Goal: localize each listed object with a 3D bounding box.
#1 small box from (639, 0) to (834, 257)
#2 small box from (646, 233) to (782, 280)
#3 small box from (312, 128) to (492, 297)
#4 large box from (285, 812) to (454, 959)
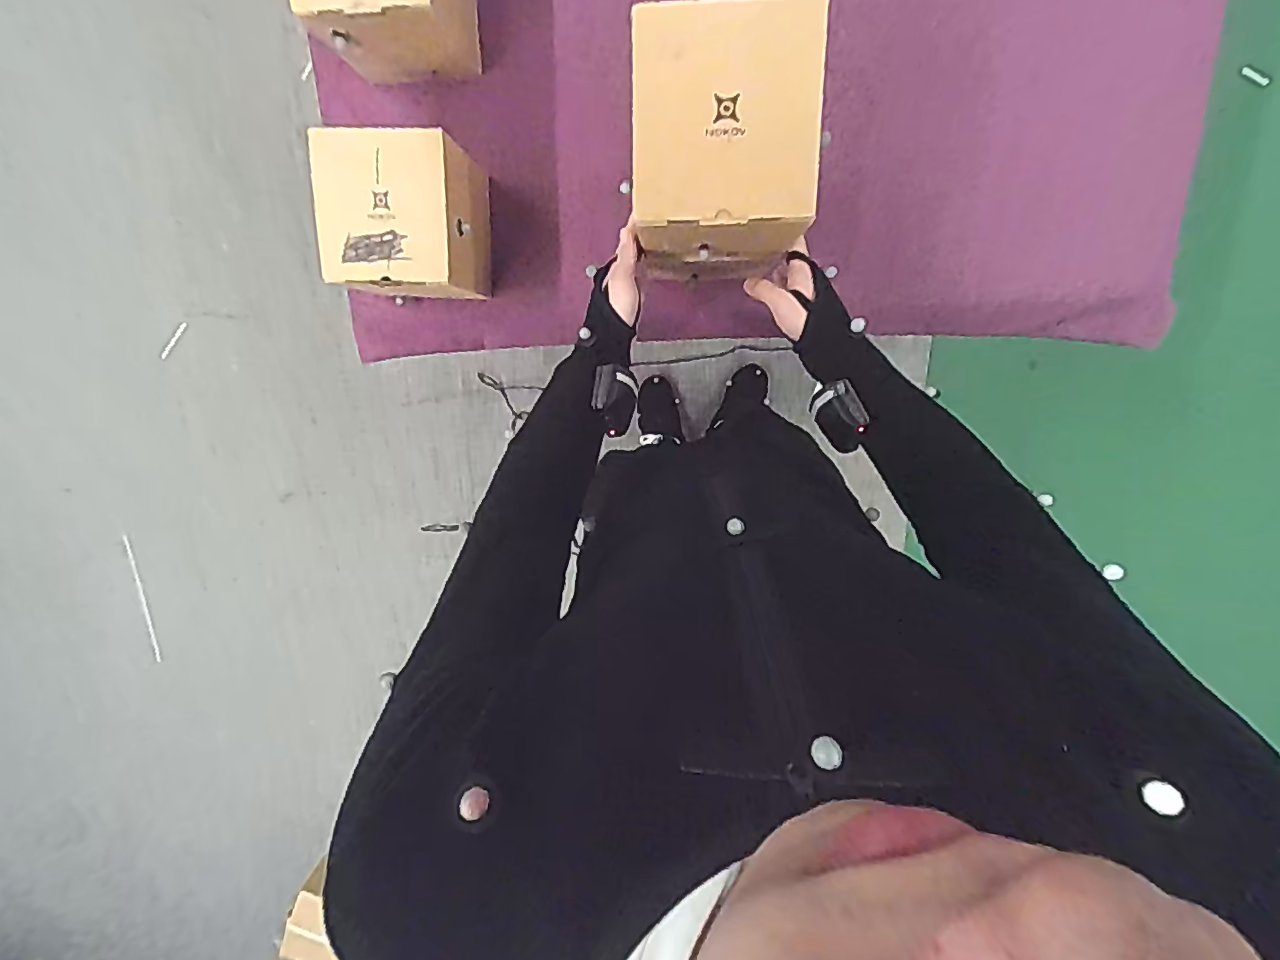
[{"bbox_3d":[0.085,-0.334,0.548,0.168,0.176,0.179,0,104,4],"label":"small box"},{"bbox_3d":[0.093,-0.366,0.707,0.168,0.176,0.179,1,104,4],"label":"small box"},{"bbox_3d":[-0.306,-0.347,0.732,0.168,0.176,0.179,2,103,2],"label":"small box"},{"bbox_3d":[-0.943,1.475,1.921,0.408,0.320,0.320,23,105,-4],"label":"large box"}]
